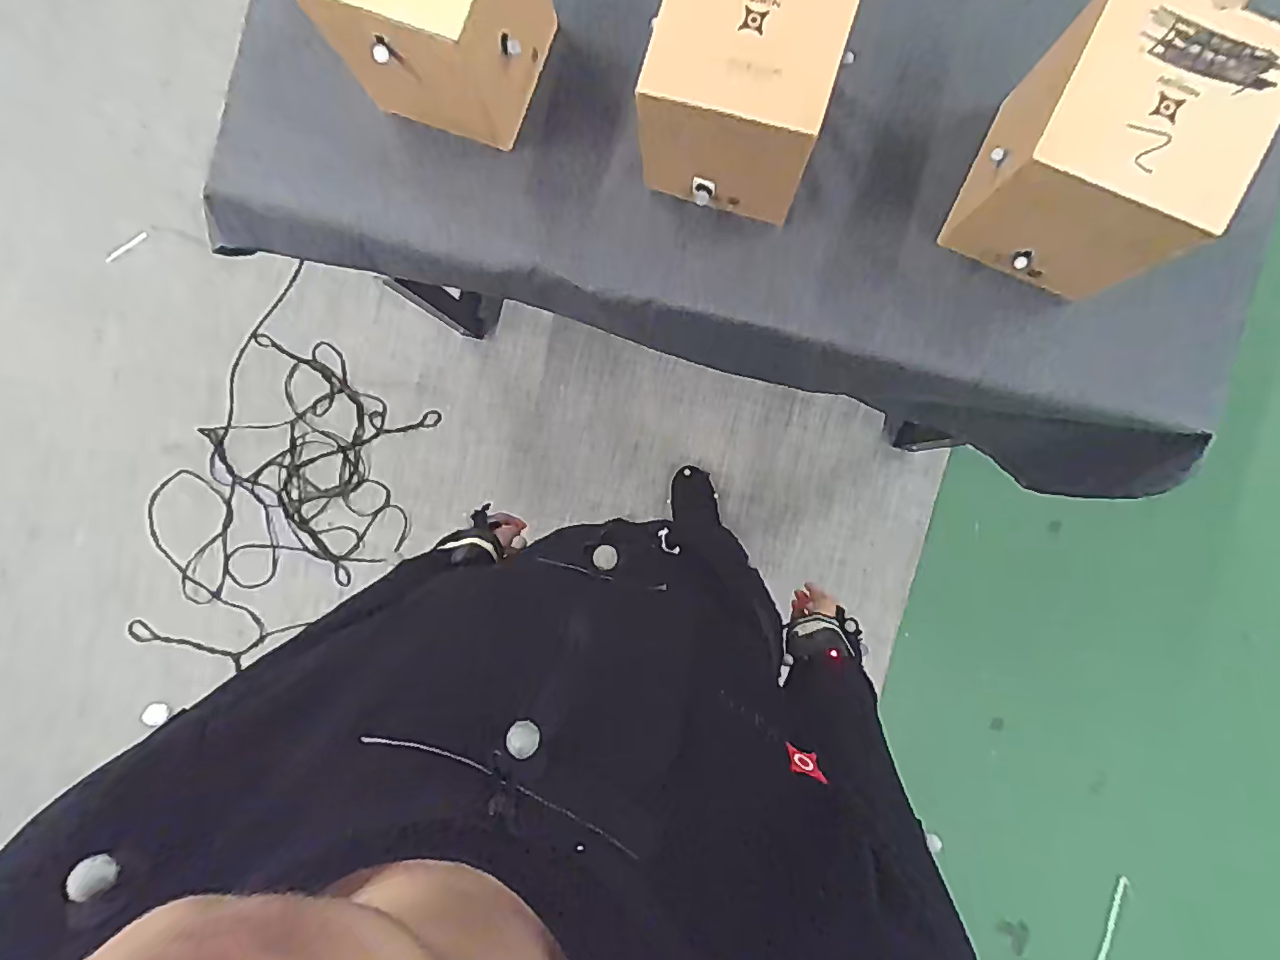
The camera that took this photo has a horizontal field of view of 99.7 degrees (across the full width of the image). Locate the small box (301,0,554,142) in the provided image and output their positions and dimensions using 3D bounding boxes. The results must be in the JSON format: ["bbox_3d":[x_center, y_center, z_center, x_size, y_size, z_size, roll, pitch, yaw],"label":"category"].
[{"bbox_3d":[-0.206,-0.494,0.560,0.179,0.176,0.168,20,91,3],"label":"small box"}]

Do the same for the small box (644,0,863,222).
[{"bbox_3d":[0.107,-0.398,0.545,0.168,0.176,0.179,16,91,4],"label":"small box"}]
